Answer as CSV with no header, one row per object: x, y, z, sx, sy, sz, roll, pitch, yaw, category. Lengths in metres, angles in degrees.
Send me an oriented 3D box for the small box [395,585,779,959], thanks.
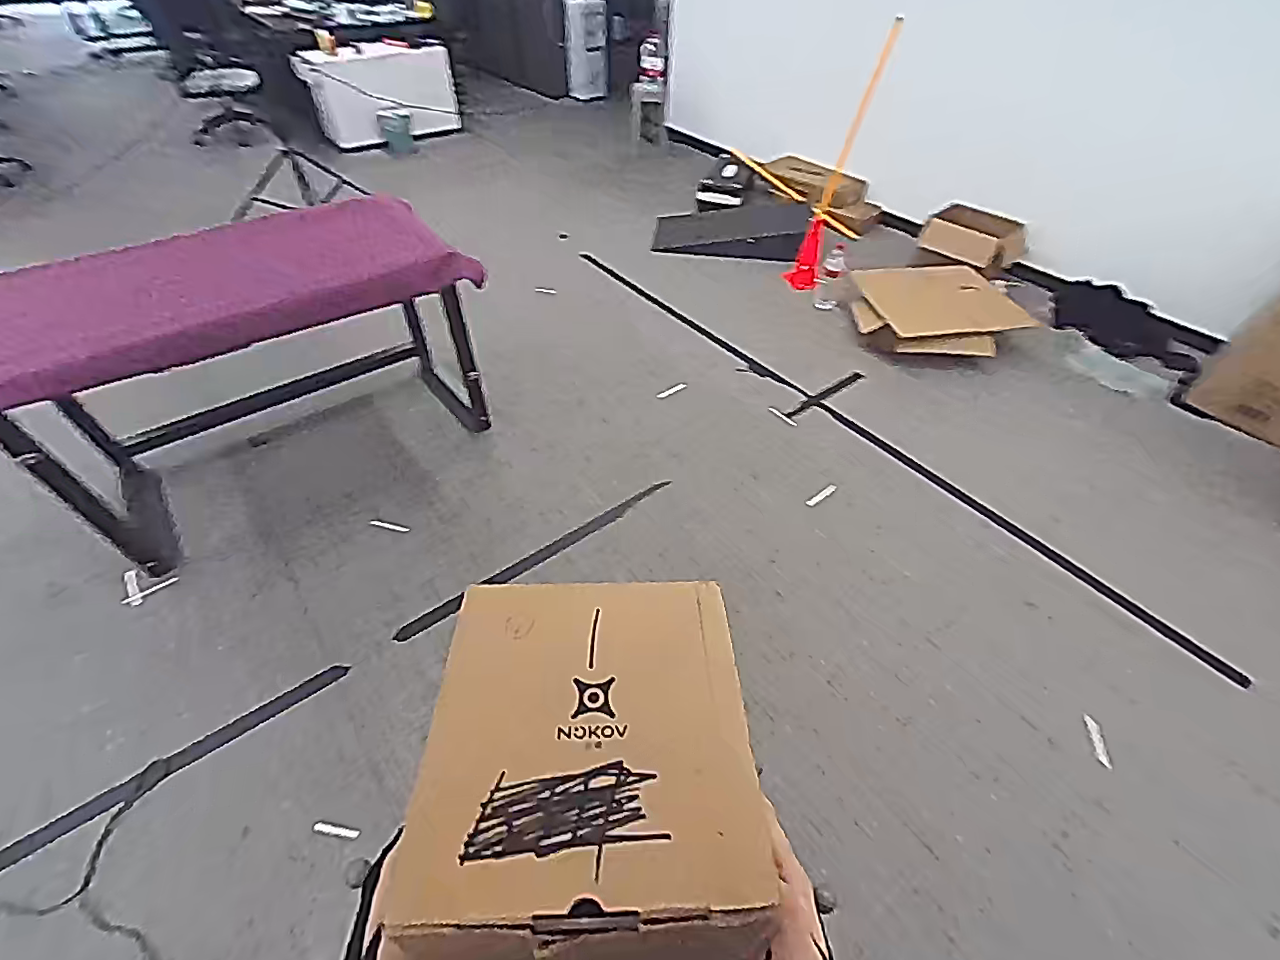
-0.026,0.188,0.339,0.168,0.176,0.179,-1,40,-4,small box
